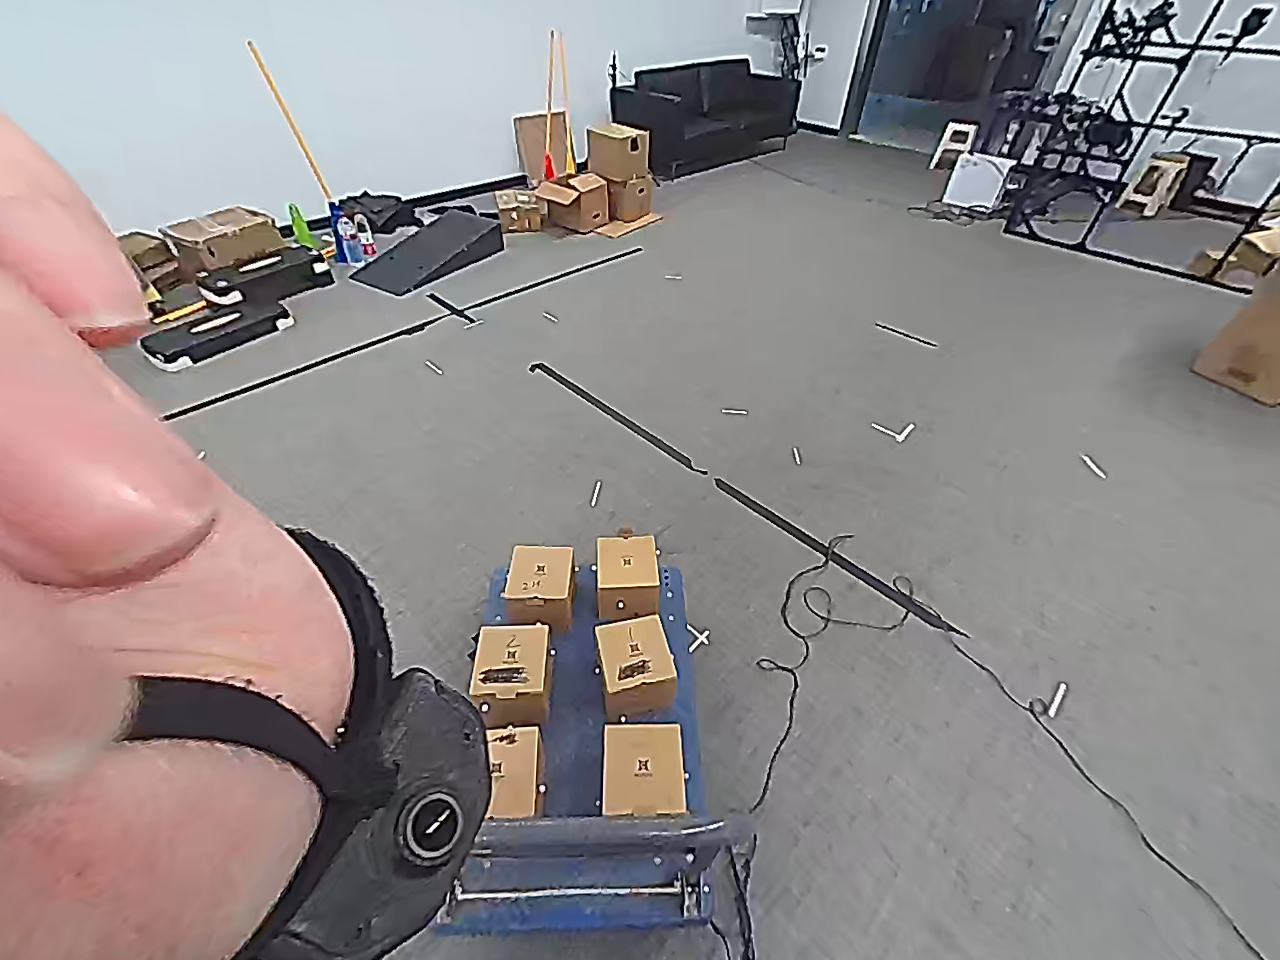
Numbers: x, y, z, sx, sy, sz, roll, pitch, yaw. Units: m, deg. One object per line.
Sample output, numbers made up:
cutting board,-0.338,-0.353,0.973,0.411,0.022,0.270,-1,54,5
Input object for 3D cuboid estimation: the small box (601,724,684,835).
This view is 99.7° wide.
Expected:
small box,0.003,0.645,1.161,0.168,0.176,0.179,1,43,-2

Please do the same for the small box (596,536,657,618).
small box,-0.041,0.281,1.545,0.168,0.176,0.179,-2,43,-5

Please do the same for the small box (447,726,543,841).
small box,-0.295,0.645,1.143,0.168,0.176,0.179,-1,44,-6

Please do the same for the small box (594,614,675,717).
small box,-0.017,0.467,1.347,0.168,0.176,0.179,-8,43,-12

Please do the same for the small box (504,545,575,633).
small box,-0.272,0.303,1.506,0.168,0.176,0.179,2,44,-1
